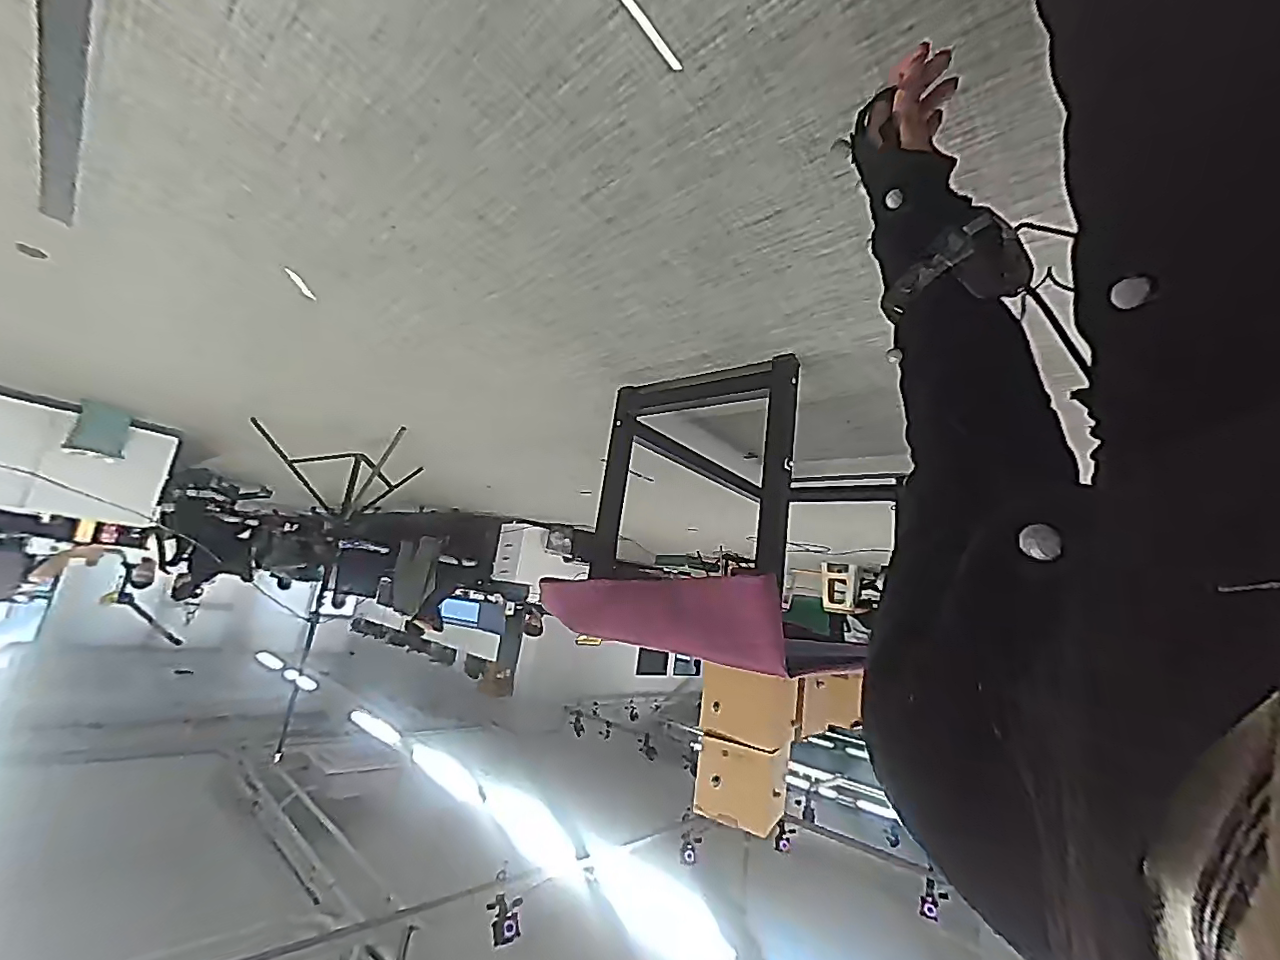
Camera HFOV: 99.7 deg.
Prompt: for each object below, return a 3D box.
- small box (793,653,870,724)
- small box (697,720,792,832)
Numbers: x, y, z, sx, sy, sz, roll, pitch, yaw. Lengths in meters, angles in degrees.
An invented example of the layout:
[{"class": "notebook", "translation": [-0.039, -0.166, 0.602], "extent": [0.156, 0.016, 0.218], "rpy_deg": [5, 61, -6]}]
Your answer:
[{"class": "small box", "translation": [0.588, 0.631, 1.655], "extent": [0.179, 0.176, 0.168], "rpy_deg": [-4, 163, 43]}, {"class": "small box", "translation": [0.245, 0.667, 1.245], "extent": [0.168, 0.176, 0.179], "rpy_deg": [3, 169, 30]}]
